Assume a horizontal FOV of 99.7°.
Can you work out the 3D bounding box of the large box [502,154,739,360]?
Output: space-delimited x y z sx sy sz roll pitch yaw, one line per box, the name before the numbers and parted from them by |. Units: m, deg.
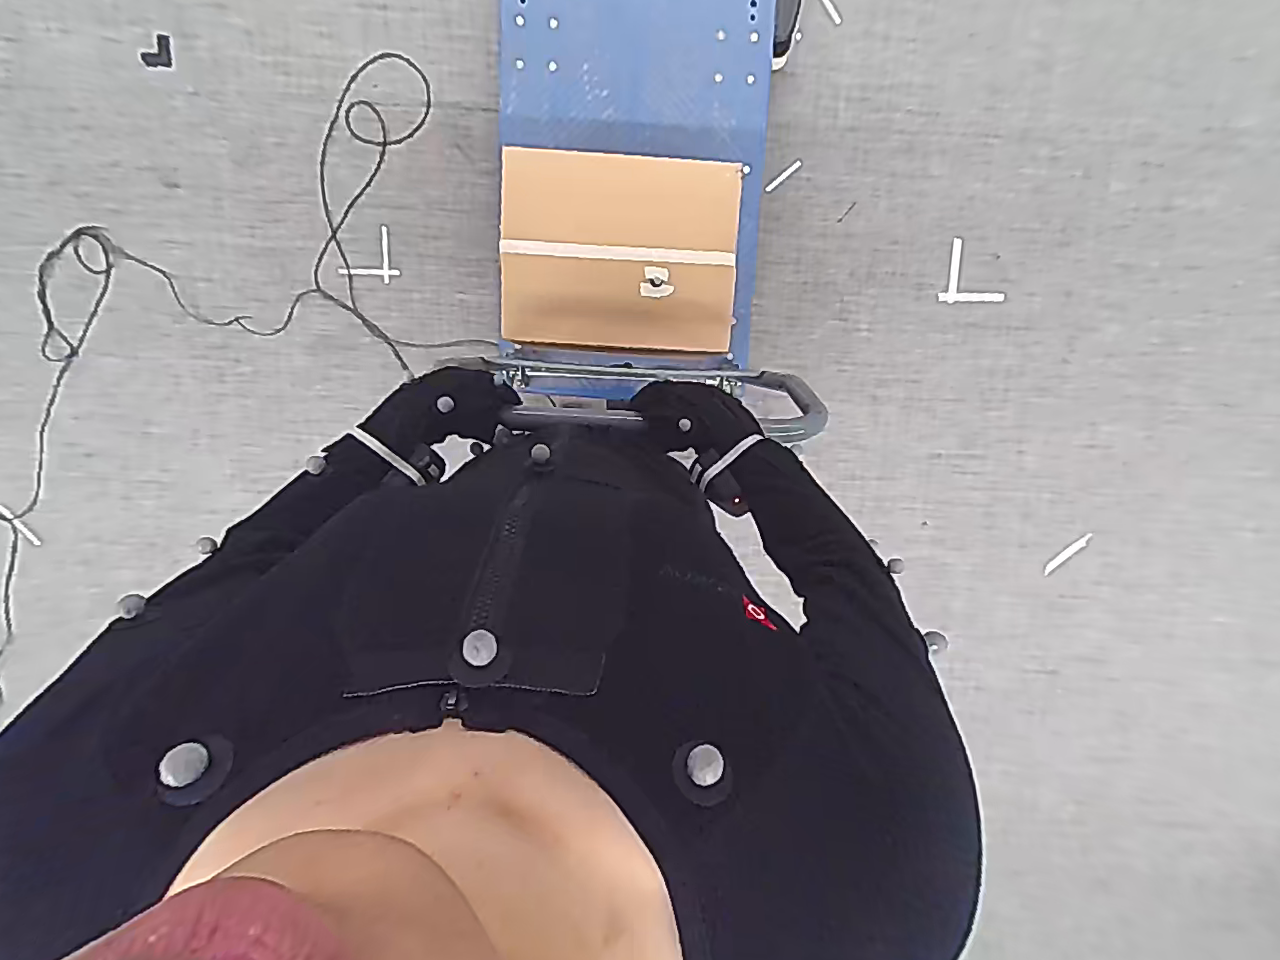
large box | -0.043 -0.409 1.075 0.408 0.320 0.320 2 101 -3
